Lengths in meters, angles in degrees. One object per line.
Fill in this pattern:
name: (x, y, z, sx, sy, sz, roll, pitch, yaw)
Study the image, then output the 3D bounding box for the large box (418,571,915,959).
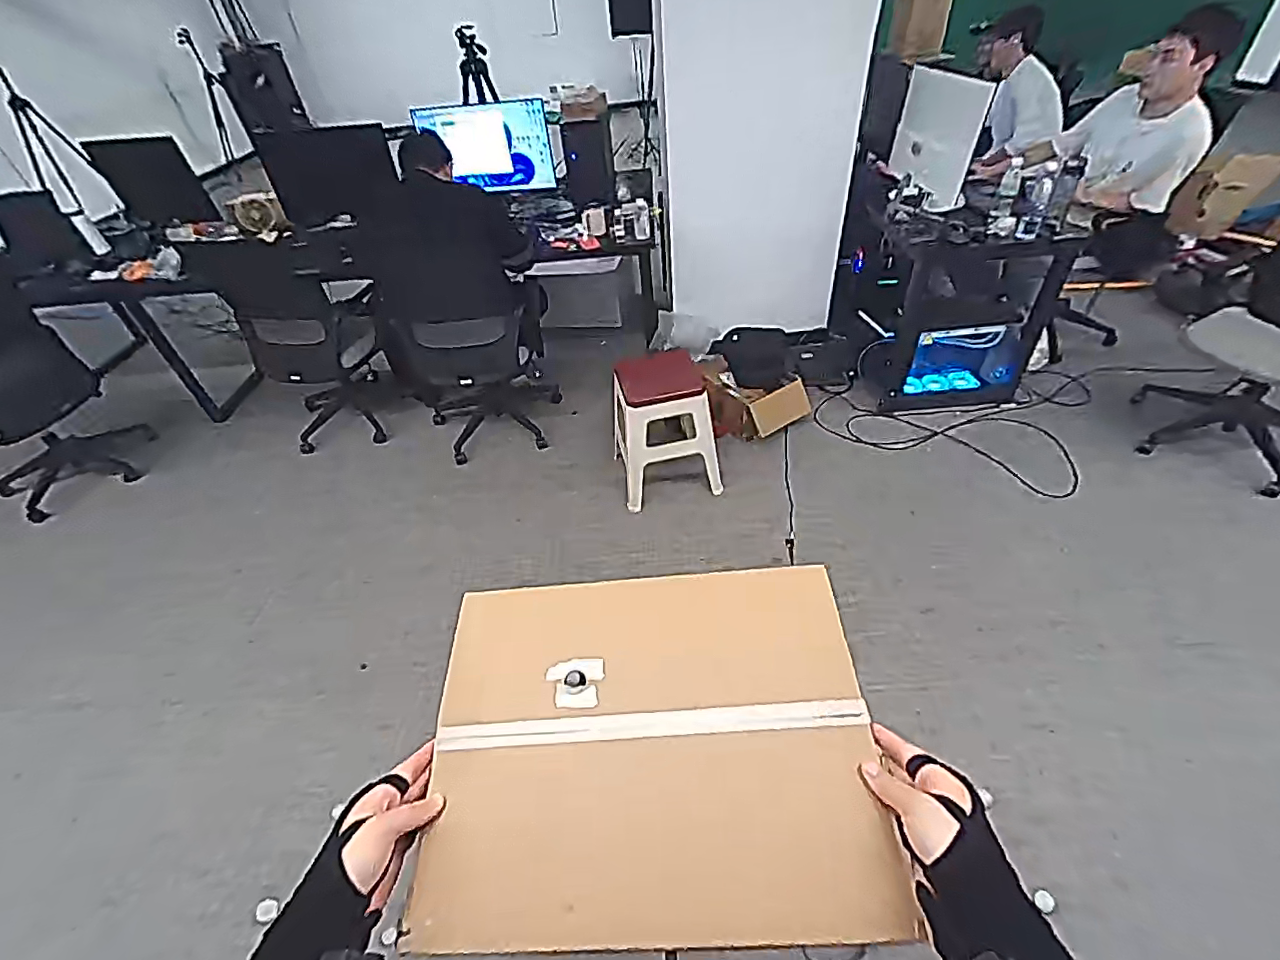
large box: (0.029, 0.335, 0.631, 0.408, 0.320, 0.320, -7, 49, 4)
